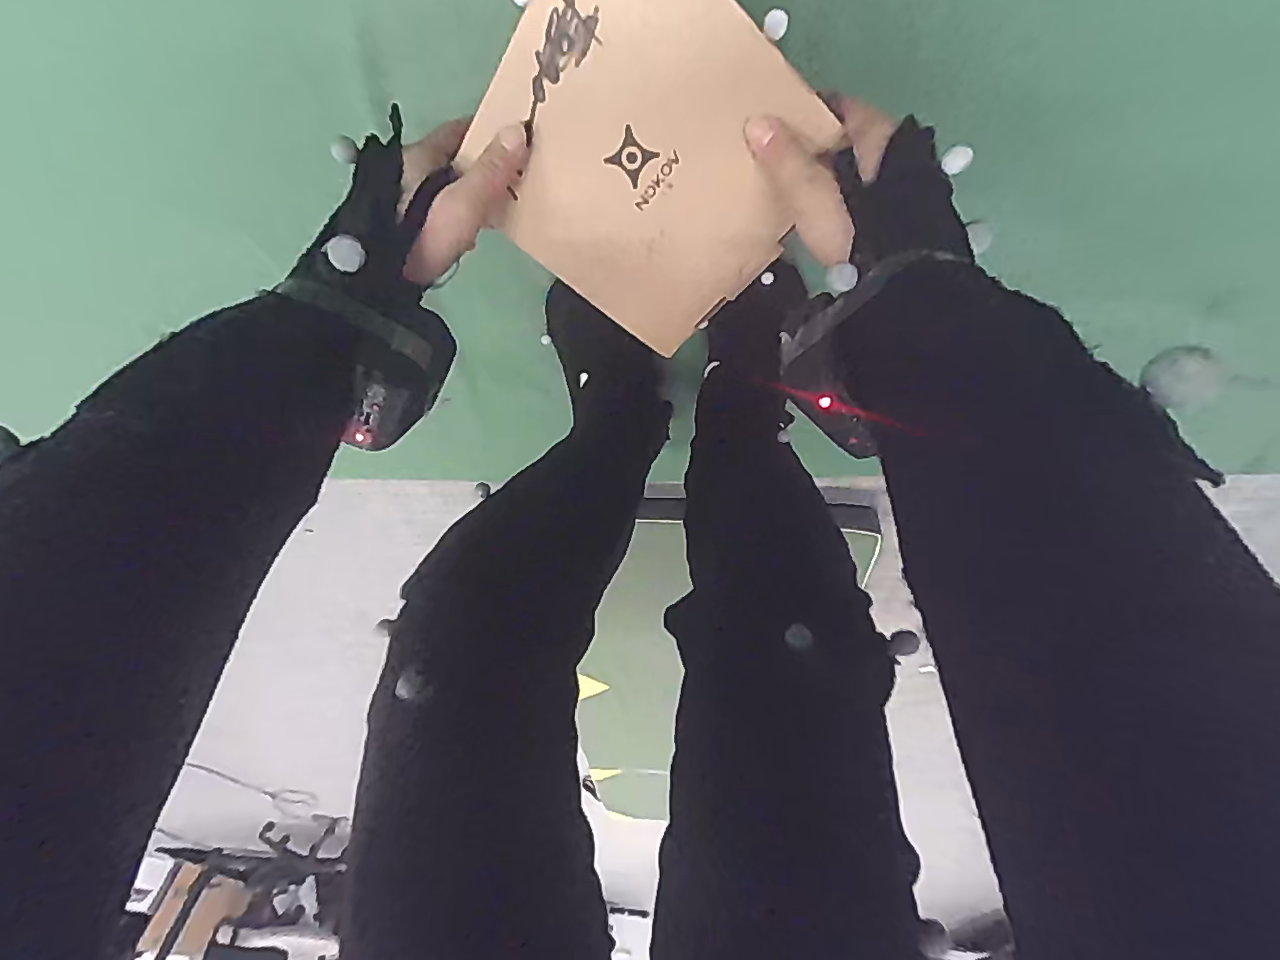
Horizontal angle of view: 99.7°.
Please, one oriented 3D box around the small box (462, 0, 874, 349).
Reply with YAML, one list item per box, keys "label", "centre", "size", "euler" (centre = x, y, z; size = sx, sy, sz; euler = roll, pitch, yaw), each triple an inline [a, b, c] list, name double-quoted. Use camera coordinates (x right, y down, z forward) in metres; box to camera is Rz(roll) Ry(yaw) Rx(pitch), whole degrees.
- label: "small box"
  centre: [0.021, -0.230, 0.358]
  size: [0.179, 0.176, 0.168]
  euler: [34, 130, -22]
